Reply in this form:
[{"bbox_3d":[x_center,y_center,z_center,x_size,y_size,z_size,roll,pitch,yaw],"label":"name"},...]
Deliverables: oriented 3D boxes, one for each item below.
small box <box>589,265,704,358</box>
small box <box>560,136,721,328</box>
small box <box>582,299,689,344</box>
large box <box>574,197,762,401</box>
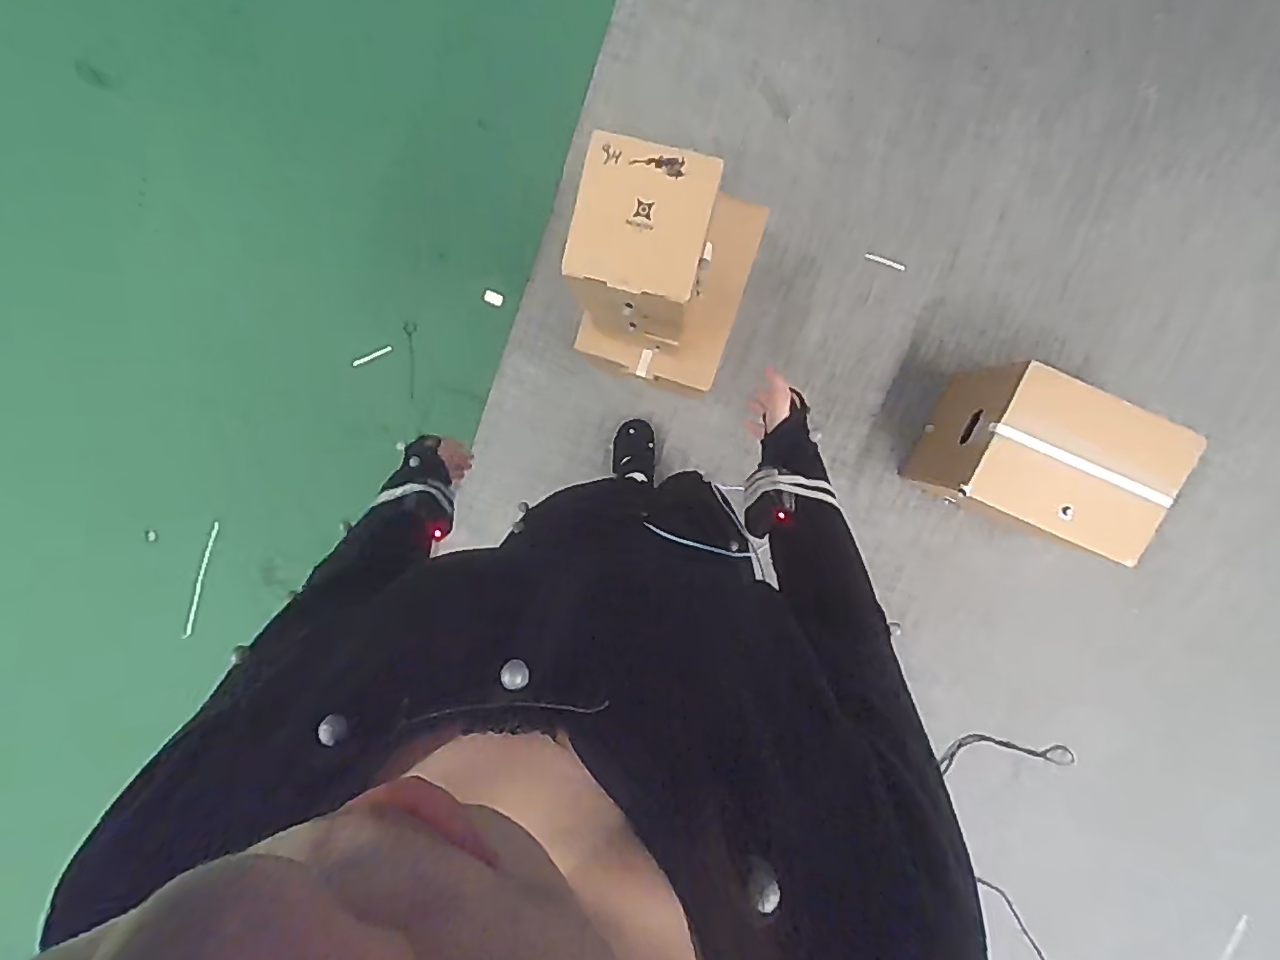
[{"bbox_3d":[0.016,-0.347,1.067,0.179,0.176,0.168,17,96,2],"label":"small box"},{"bbox_3d":[0.005,-0.321,0.740,0.168,0.176,0.179,15,96,2],"label":"small box"},{"bbox_3d":[0.011,-0.338,0.903,0.168,0.176,0.179,13,95,1],"label":"small box"},{"bbox_3d":[0.065,-0.432,1.301,0.320,0.320,0.408,18,95,1],"label":"large box"}]
